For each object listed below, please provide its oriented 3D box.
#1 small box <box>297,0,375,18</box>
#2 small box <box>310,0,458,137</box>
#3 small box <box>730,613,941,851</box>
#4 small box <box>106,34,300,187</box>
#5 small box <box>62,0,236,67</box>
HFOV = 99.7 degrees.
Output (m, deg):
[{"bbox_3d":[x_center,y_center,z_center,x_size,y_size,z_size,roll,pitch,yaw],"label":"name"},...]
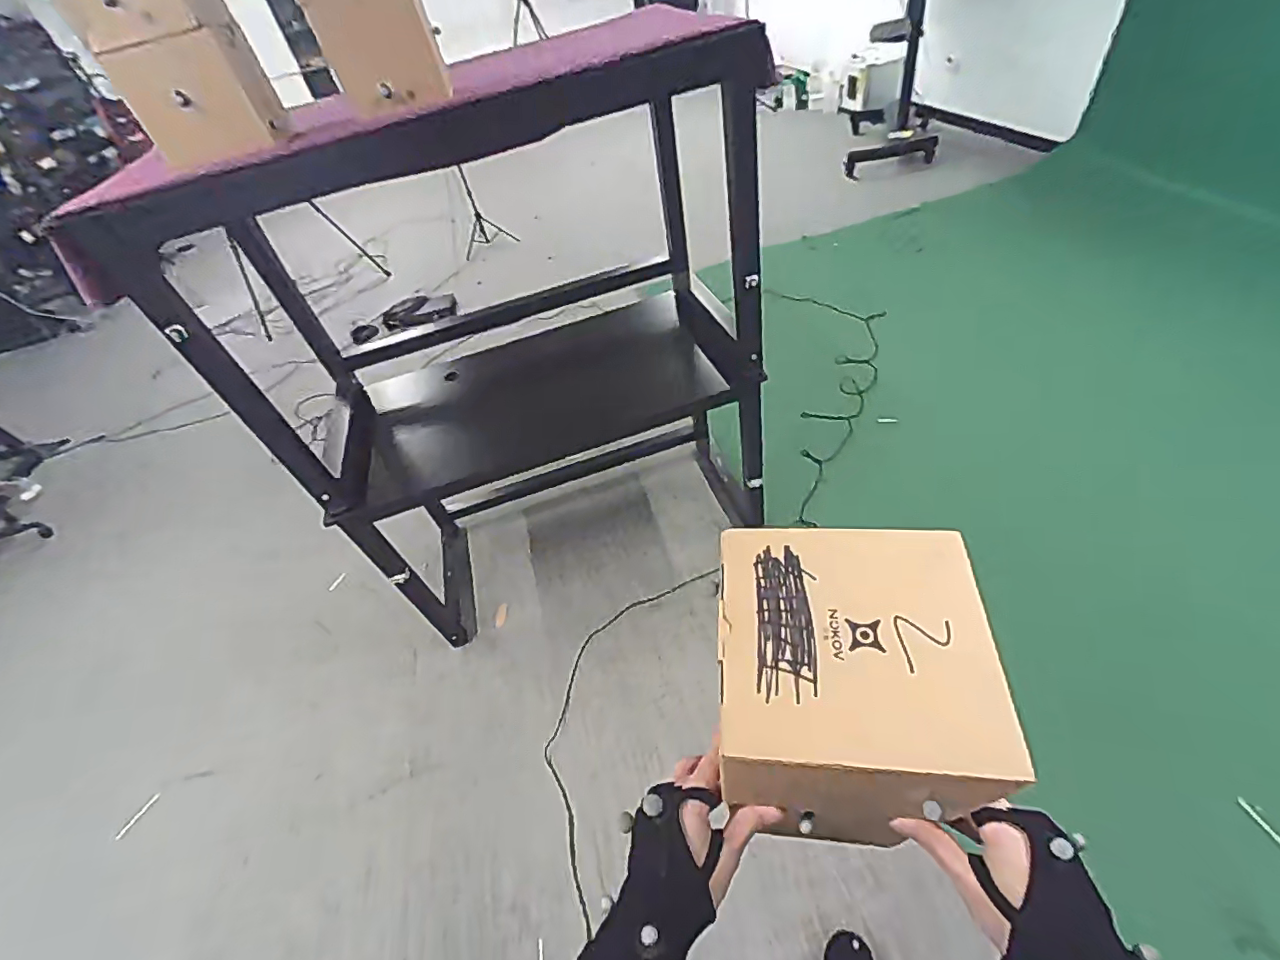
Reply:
[{"bbox_3d":[-0.465,-0.835,0.828,0.179,0.176,0.168,-18,44,-2],"label":"small box"},{"bbox_3d":[-0.432,-0.724,0.945,0.168,0.176,0.179,-17,44,-1],"label":"small box"},{"bbox_3d":[0.177,0.255,0.550,0.168,0.176,0.179,-1,50,11],"label":"small box"},{"bbox_3d":[-0.725,-0.632,0.926,0.179,0.176,0.168,-19,44,-3],"label":"small box"},{"bbox_3d":[-0.761,-0.750,0.820,0.168,0.176,0.179,-18,44,-4],"label":"small box"}]
